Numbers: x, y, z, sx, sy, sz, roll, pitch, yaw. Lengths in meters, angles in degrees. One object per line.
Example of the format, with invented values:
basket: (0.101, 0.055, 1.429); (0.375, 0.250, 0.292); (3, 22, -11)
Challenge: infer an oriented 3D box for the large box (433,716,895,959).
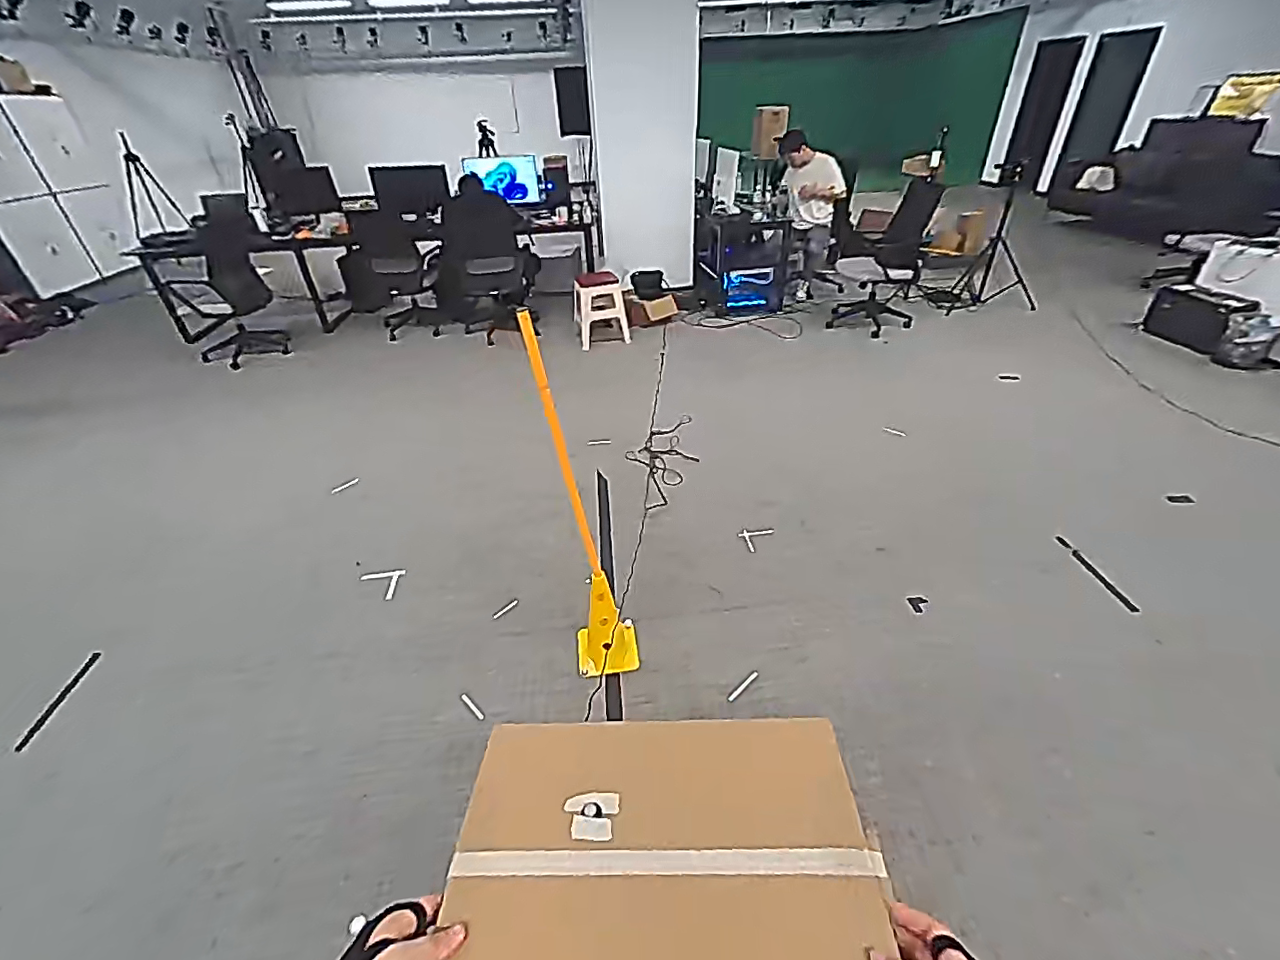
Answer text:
large box: (0.034, 0.502, 0.598); (0.408, 0.320, 0.320); (-5, 29, 5)
